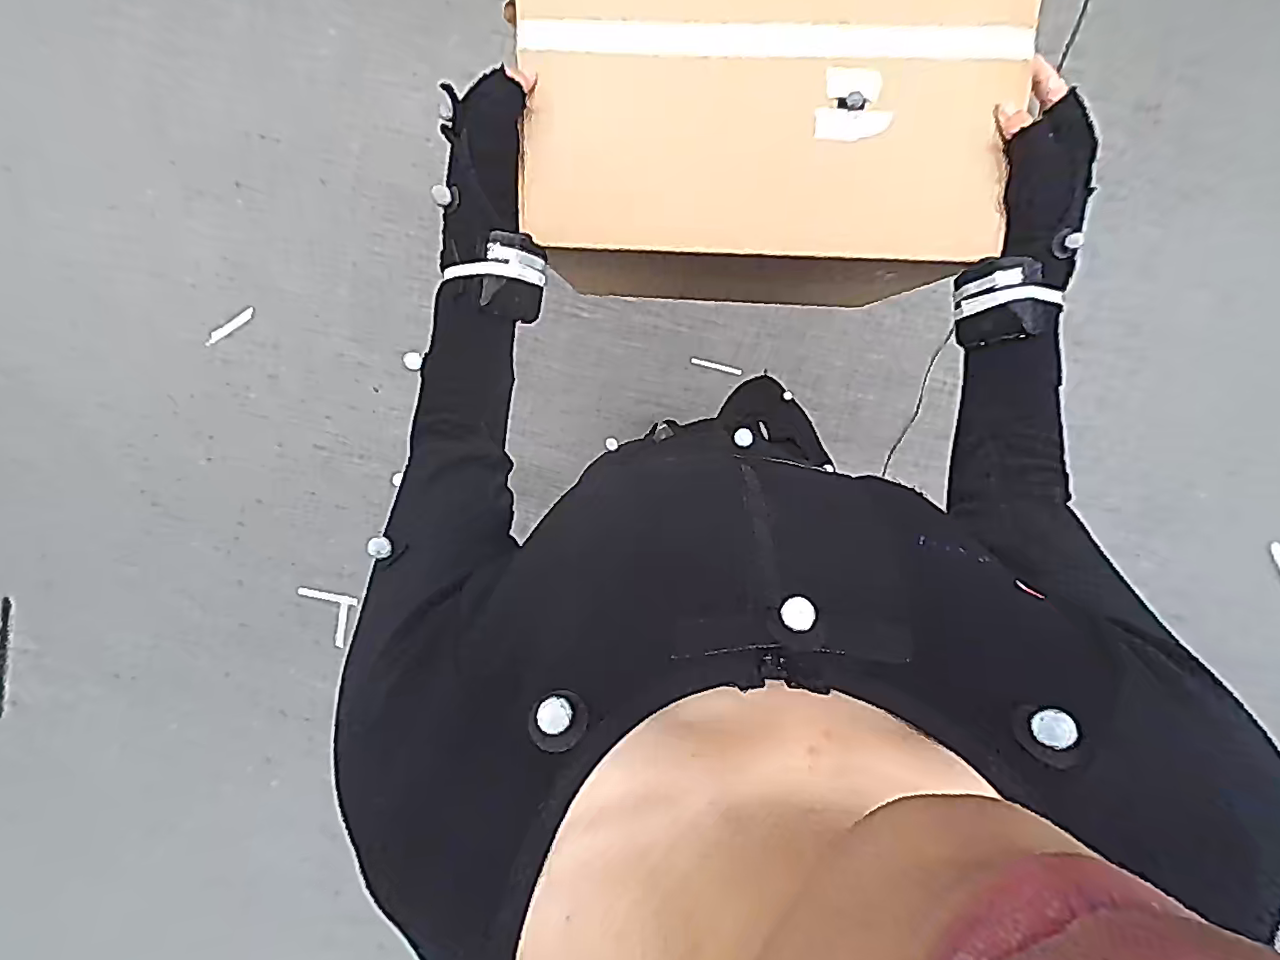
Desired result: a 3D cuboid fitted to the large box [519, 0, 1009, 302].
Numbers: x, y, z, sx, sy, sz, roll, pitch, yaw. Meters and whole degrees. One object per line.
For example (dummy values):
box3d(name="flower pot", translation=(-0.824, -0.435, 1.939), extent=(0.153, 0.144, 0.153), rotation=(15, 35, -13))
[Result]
box3d(name="large box", translation=(0.100, -0.378, 0.595), extent=(0.408, 0.320, 0.320), rotation=(2, 102, 1))
